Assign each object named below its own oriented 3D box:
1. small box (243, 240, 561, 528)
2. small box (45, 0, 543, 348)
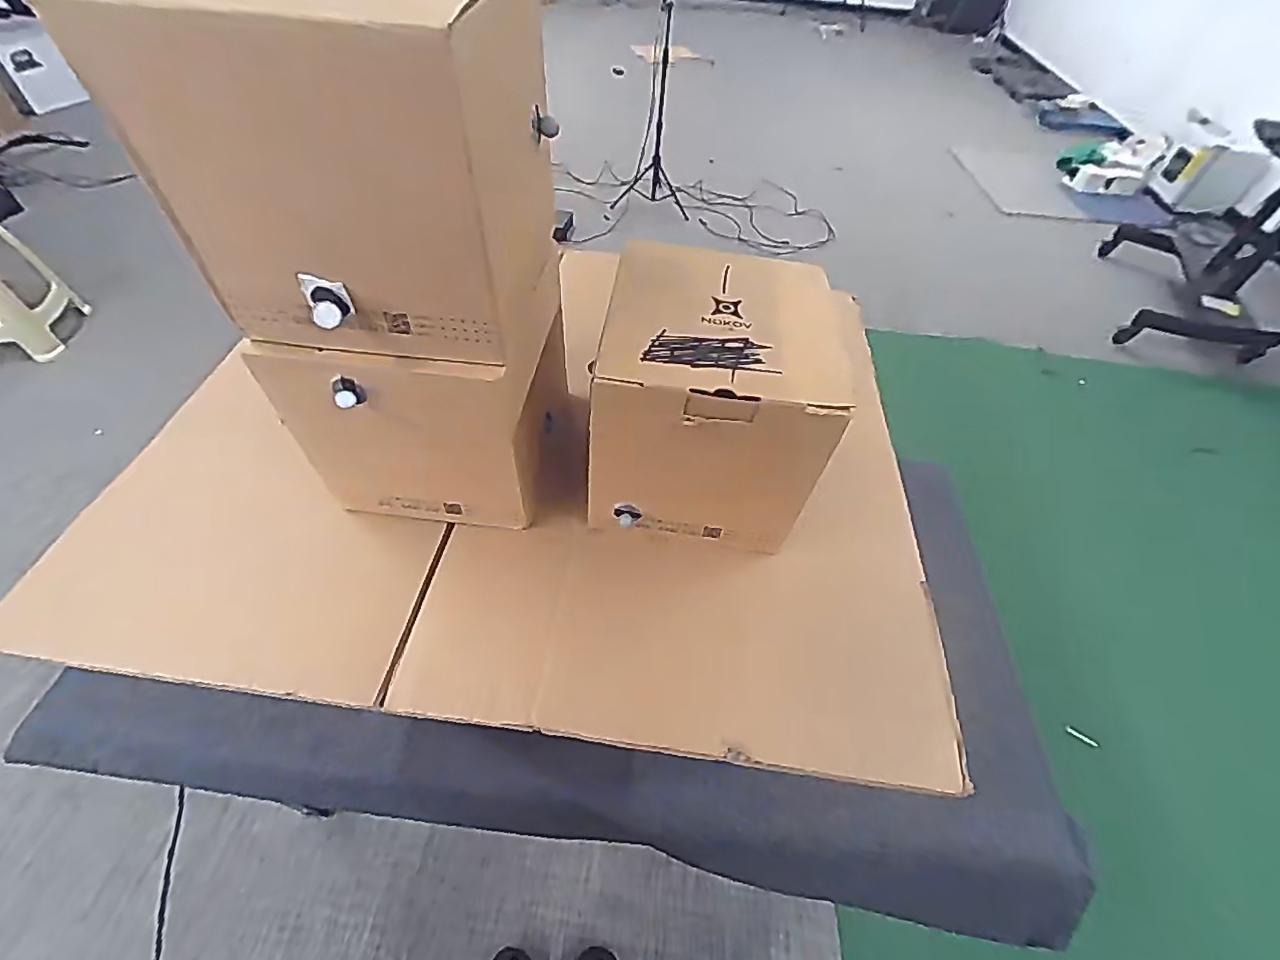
[{"bbox_3d":[-0.163,-0.085,0.448,0.168,0.176,0.179,6,51,3],"label":"small box"},{"bbox_3d":[-0.154,-0.203,0.315,0.168,0.176,0.179,4,53,0],"label":"small box"}]
